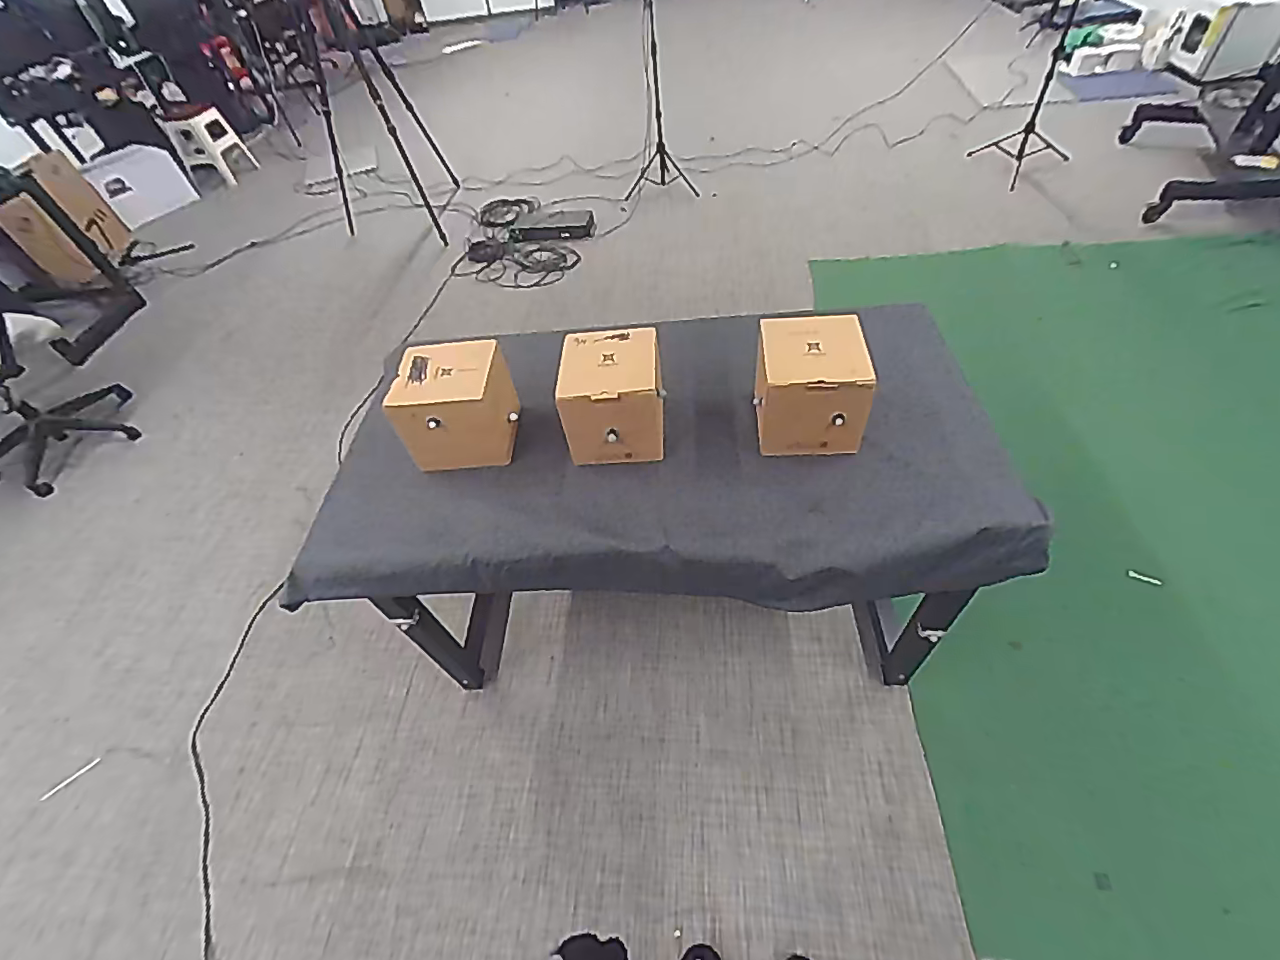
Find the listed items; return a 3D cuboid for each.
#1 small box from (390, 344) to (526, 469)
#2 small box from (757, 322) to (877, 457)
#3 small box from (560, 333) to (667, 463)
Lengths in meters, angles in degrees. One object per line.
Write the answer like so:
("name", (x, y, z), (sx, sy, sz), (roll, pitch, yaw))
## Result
("small box", (-0.330, -0.134, 1.019), (0.179, 0.176, 0.168), (-3, 50, 4))
("small box", (0.298, -0.153, 0.949), (0.168, 0.176, 0.179), (-1, 49, 7))
("small box", (-0.039, -0.143, 0.987), (0.168, 0.176, 0.179), (-3, 51, 6))
